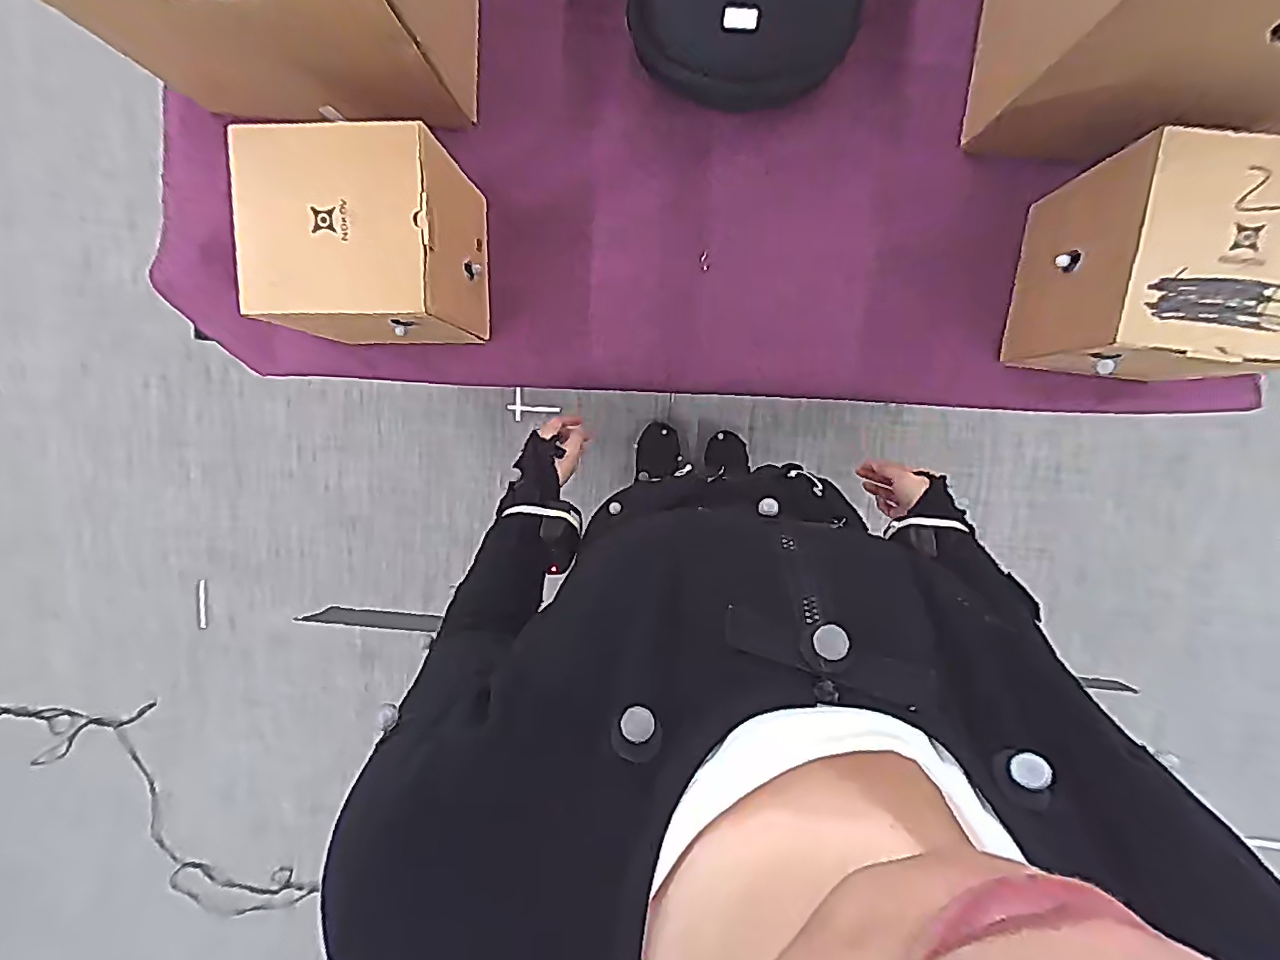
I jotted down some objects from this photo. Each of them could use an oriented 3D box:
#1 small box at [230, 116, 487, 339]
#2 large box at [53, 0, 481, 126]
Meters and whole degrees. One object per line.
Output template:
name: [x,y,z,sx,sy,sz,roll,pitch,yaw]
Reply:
small box: [-0.272,-0.242,0.560,0.179,0.176,0.168,0,96,2]
large box: [-0.328,-0.589,0.450,0.320,0.320,0.408,3,99,1]
